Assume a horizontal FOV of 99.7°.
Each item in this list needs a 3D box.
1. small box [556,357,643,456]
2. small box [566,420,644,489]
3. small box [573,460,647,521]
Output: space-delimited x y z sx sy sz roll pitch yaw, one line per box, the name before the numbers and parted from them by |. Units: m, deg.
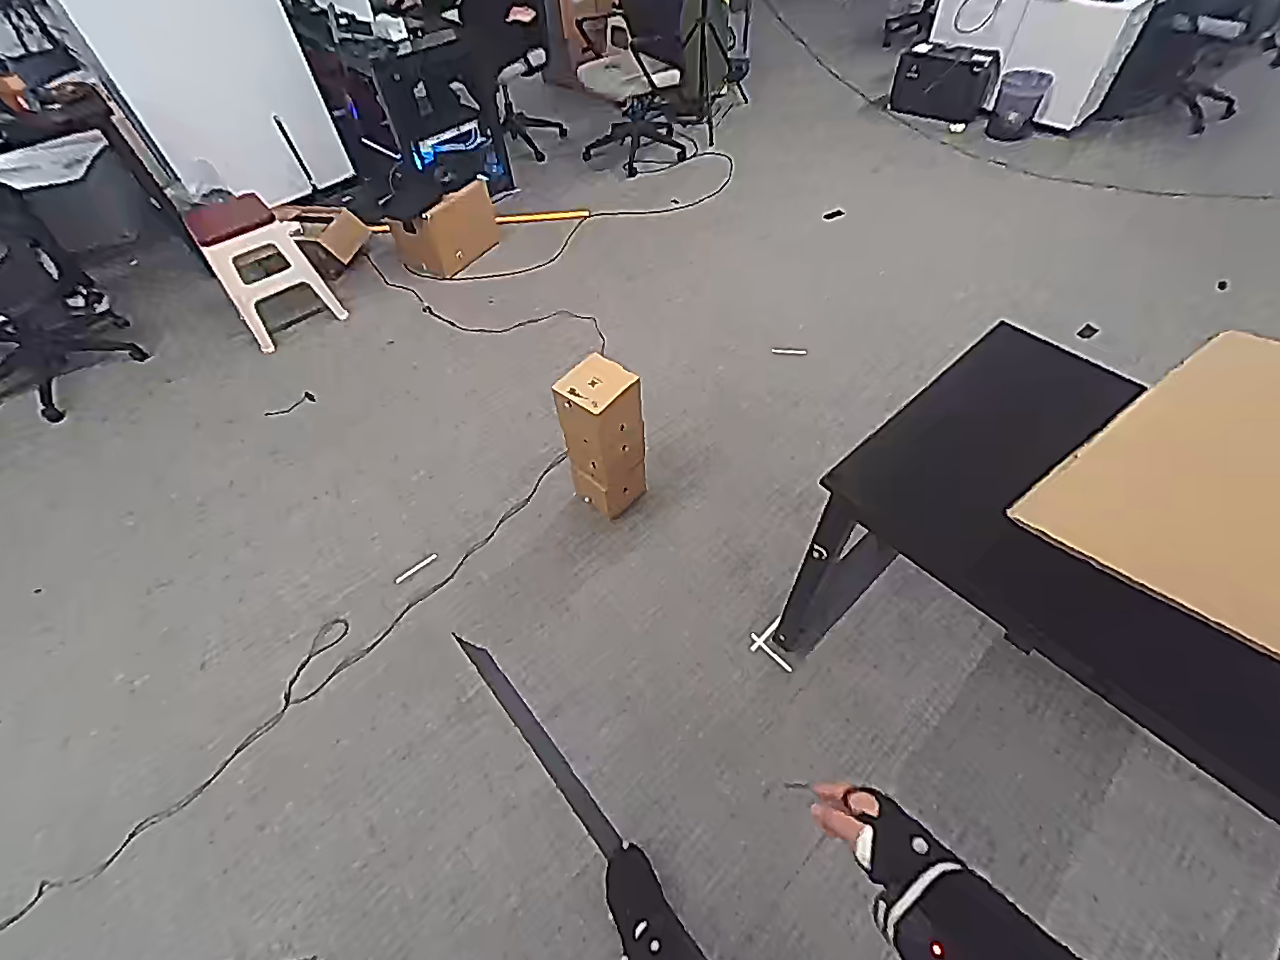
small box | -0.107 -0.202 1.495 0.168 0.176 0.179 32 60 24
small box | -0.097 -0.105 1.627 0.168 0.176 0.179 35 61 25
small box | -0.093 -0.002 1.753 0.168 0.176 0.179 37 64 27
